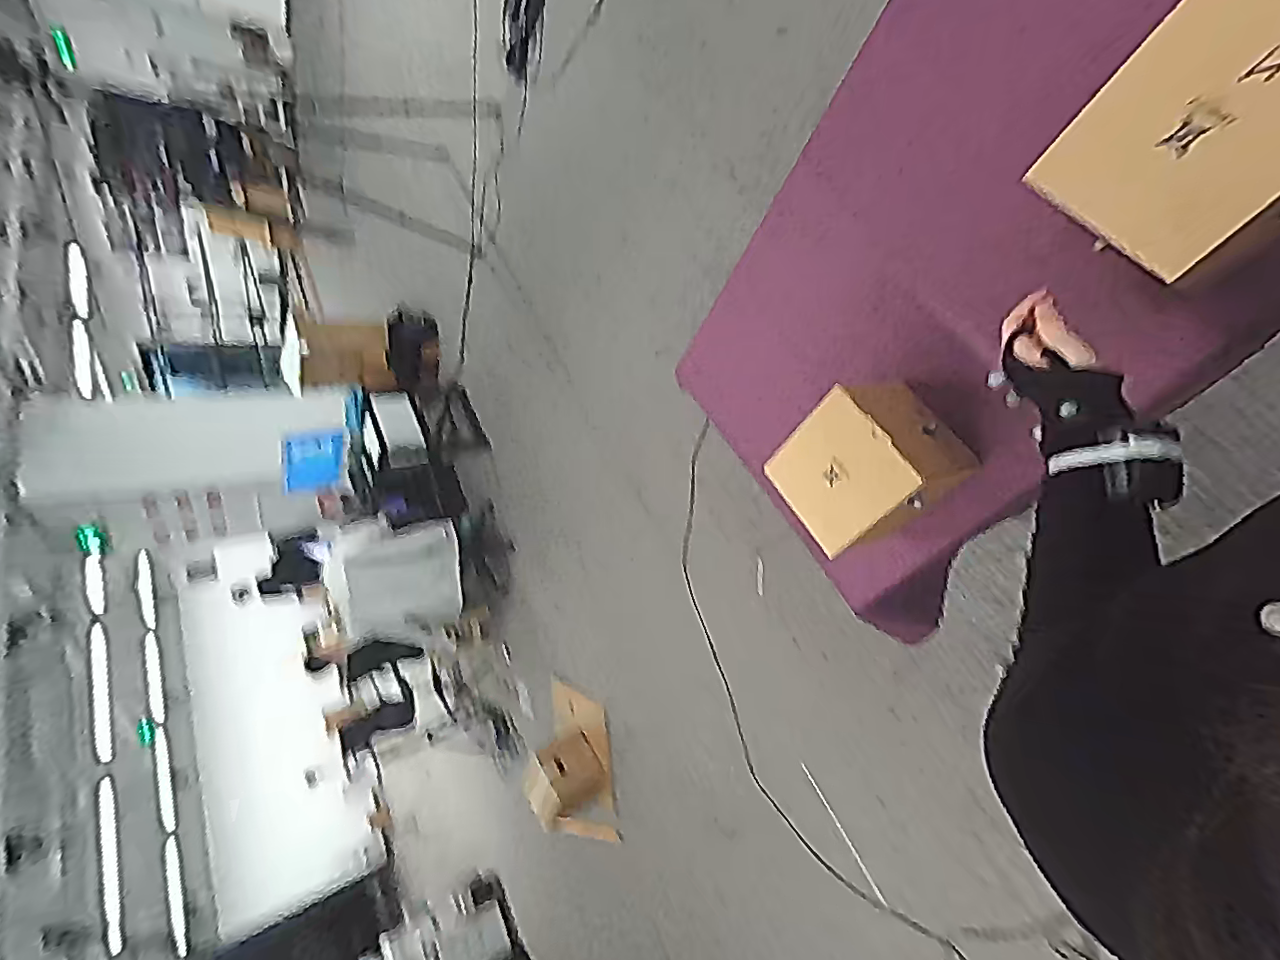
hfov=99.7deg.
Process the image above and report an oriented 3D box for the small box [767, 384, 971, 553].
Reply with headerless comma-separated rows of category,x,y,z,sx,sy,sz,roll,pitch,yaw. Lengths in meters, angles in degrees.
small box,0.327,-0.020,0.780,0.168,0.176,0.179,58,136,26
